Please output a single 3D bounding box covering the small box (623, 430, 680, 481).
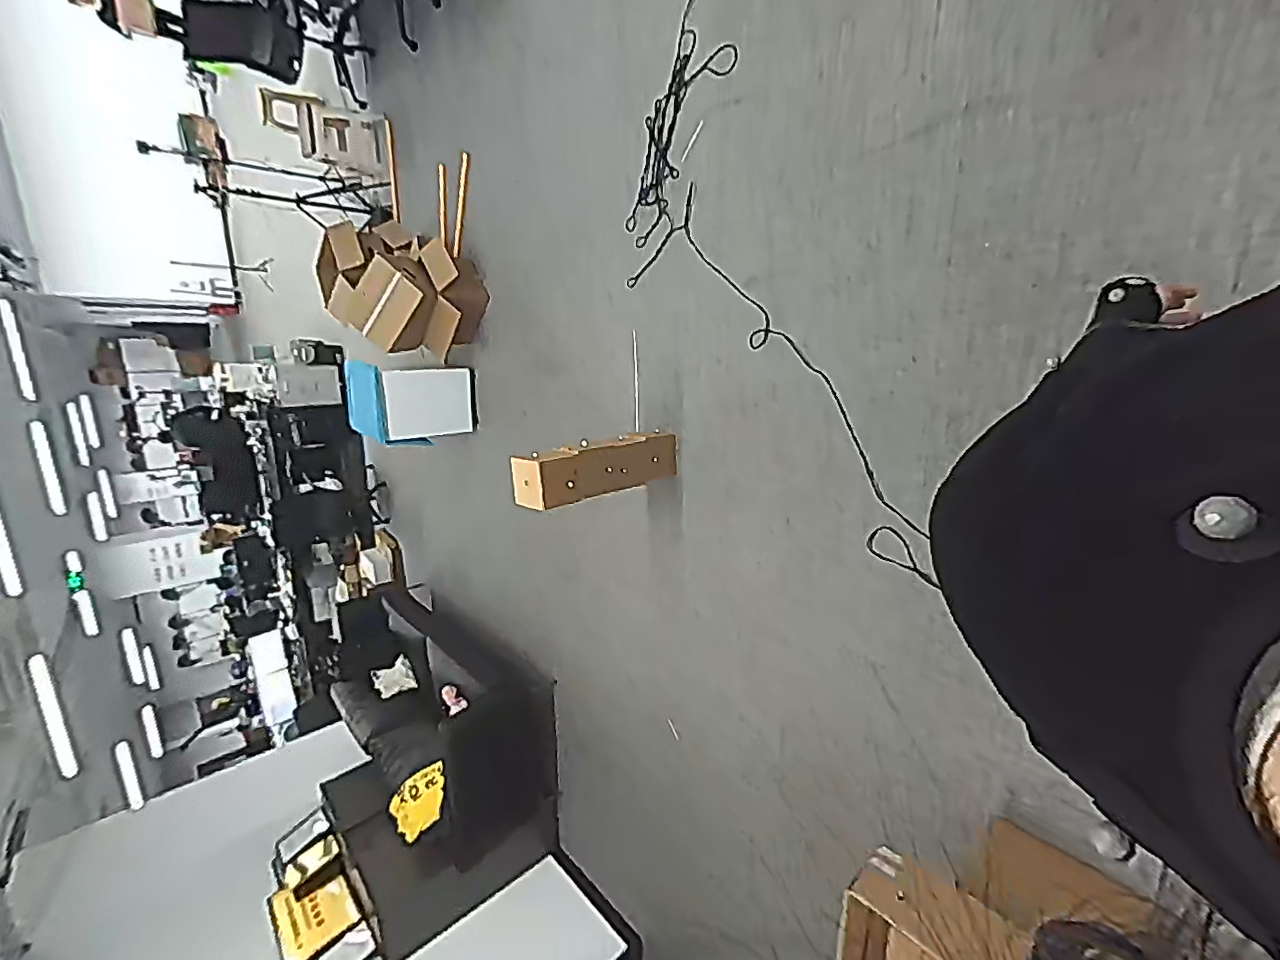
[{"bbox_3d":[0.048,-0.104,2.189,0.168,0.176,0.179,12,108,47],"label":"small box"}]

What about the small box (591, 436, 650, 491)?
[{"bbox_3d":[-0.074,-0.068,2.086,0.168,0.176,0.179,12,108,46],"label":"small box"}]

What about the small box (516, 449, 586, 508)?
[{"bbox_3d":[-0.305,-0.011,1.862,0.179,0.176,0.168,9,107,46],"label":"small box"}]

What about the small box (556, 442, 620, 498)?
[{"bbox_3d":[-0.186,-0.044,1.969,0.168,0.176,0.179,10,106,47],"label":"small box"}]
